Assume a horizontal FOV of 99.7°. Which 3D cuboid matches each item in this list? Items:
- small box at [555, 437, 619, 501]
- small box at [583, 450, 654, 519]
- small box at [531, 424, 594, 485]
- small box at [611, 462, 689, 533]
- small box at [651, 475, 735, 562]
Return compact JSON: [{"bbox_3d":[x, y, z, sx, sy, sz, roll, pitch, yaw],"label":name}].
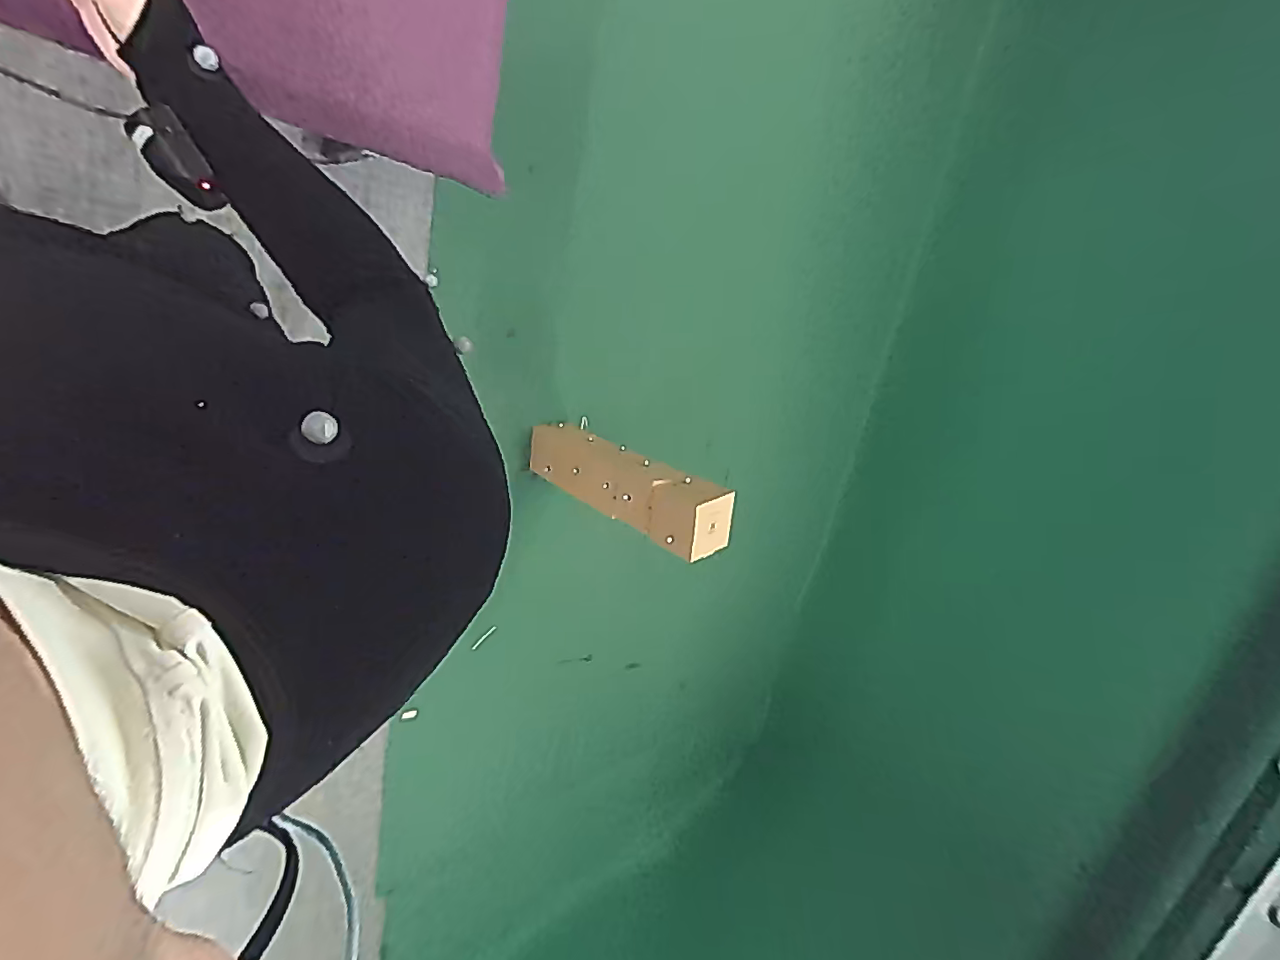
[{"bbox_3d":[-0.179,-0.043,1.886,0.168,0.176,0.179,-7,114,-43],"label":"small box"},{"bbox_3d":[-0.071,0.006,1.774,0.168,0.176,0.179,-10,117,-41],"label":"small box"},{"bbox_3d":[-0.287,-0.099,1.994,0.168,0.176,0.179,-9,116,-42],"label":"small box"},{"bbox_3d":[0.032,0.047,1.653,0.179,0.176,0.168,-5,113,-42],"label":"small box"},{"bbox_3d":[0.148,0.105,1.552,0.168,0.176,0.179,-16,119,-40],"label":"small box"}]
